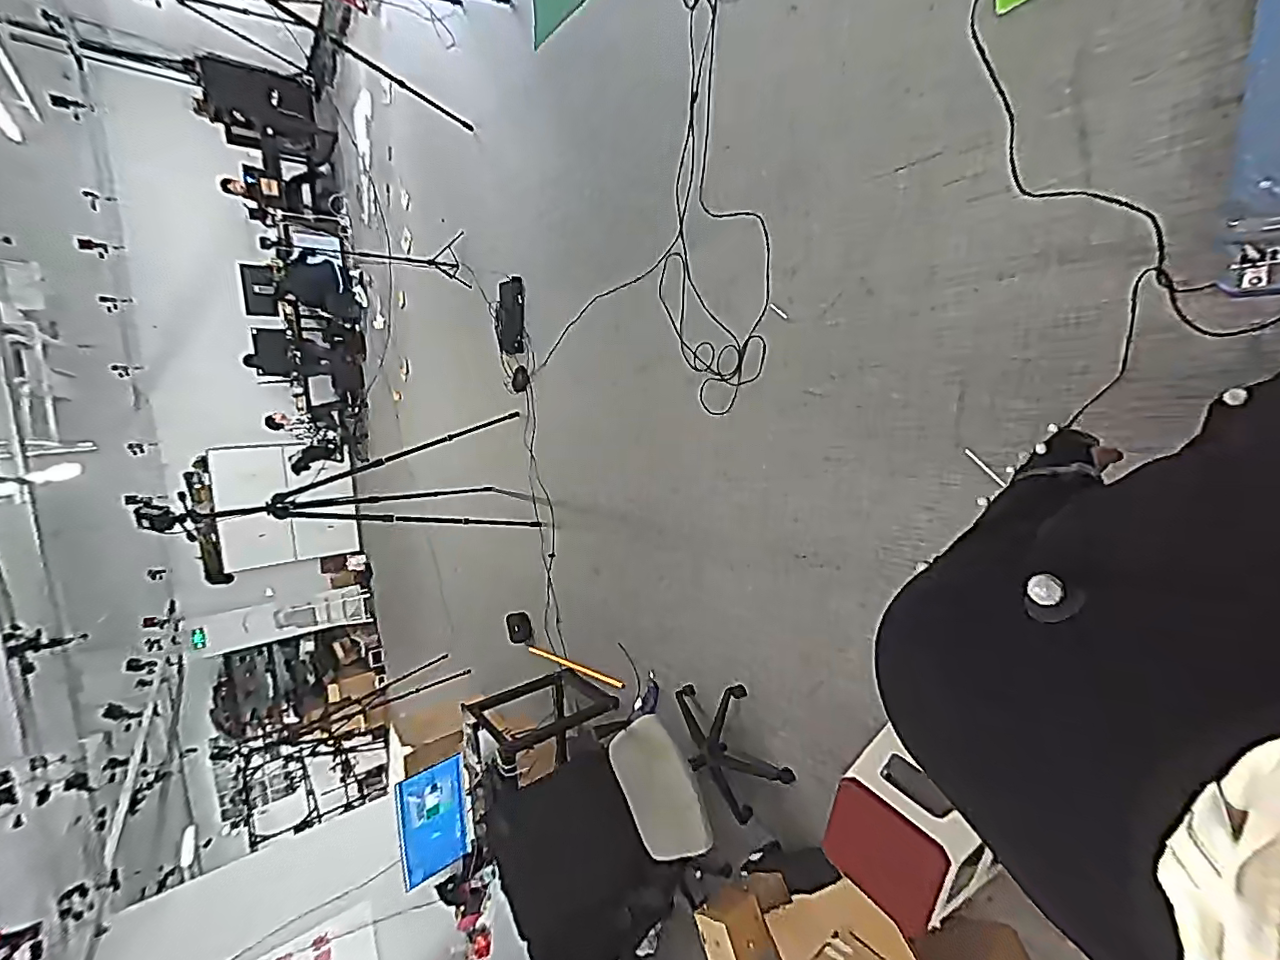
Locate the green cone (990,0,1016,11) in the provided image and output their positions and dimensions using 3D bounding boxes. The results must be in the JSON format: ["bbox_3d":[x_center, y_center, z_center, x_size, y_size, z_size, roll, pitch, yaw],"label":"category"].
[{"bbox_3d":[0.797,-1.247,1.173,0.202,0.368,0.200,1,98,54],"label":"green cone"}]
